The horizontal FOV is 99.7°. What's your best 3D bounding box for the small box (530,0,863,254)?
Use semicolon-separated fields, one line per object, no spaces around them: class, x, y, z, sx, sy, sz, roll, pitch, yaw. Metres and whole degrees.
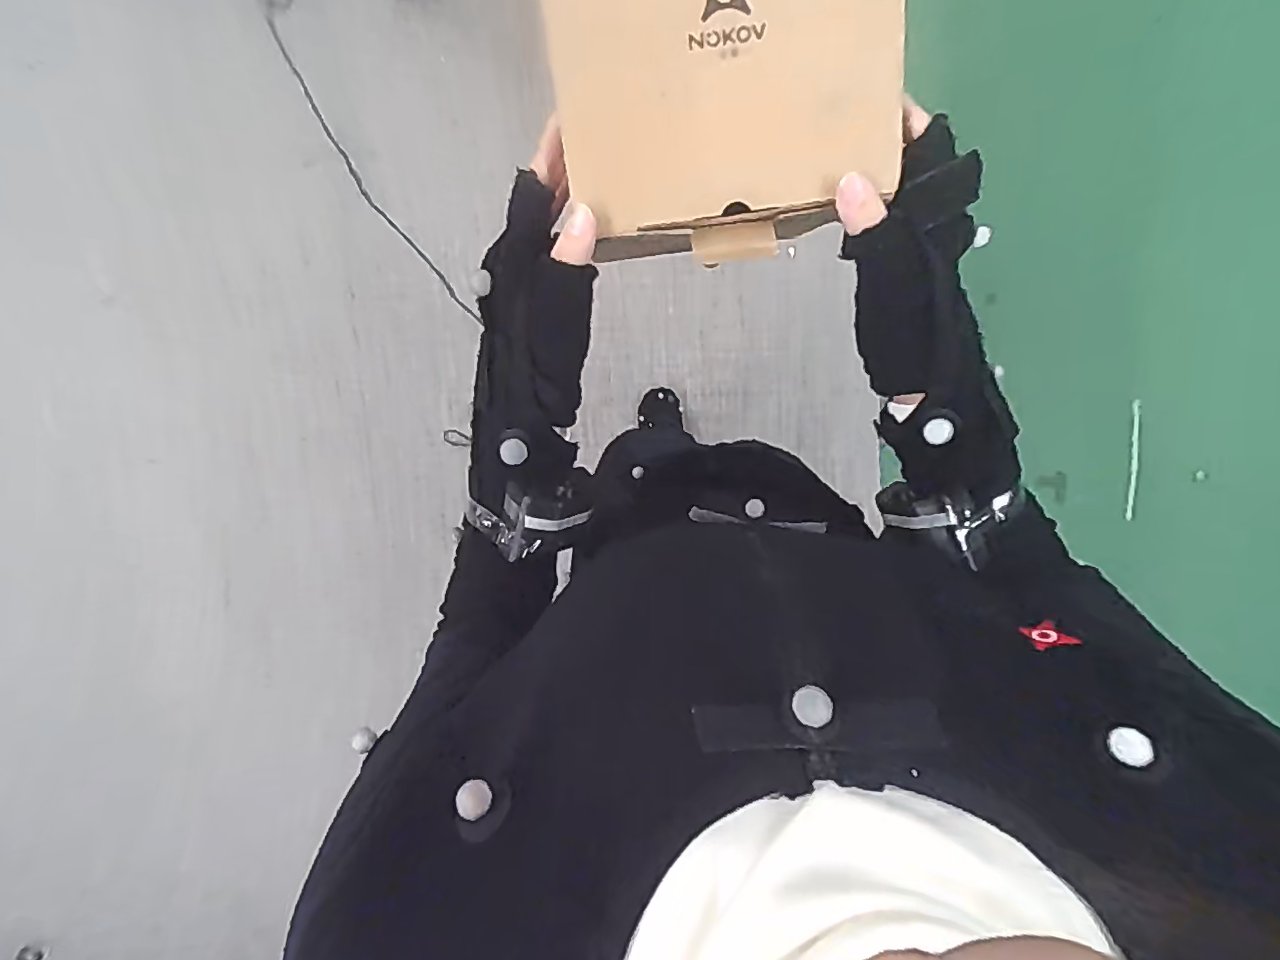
small box;0.030;-0.251;0.349;0.168;0.176;0.179;-9;108;2
